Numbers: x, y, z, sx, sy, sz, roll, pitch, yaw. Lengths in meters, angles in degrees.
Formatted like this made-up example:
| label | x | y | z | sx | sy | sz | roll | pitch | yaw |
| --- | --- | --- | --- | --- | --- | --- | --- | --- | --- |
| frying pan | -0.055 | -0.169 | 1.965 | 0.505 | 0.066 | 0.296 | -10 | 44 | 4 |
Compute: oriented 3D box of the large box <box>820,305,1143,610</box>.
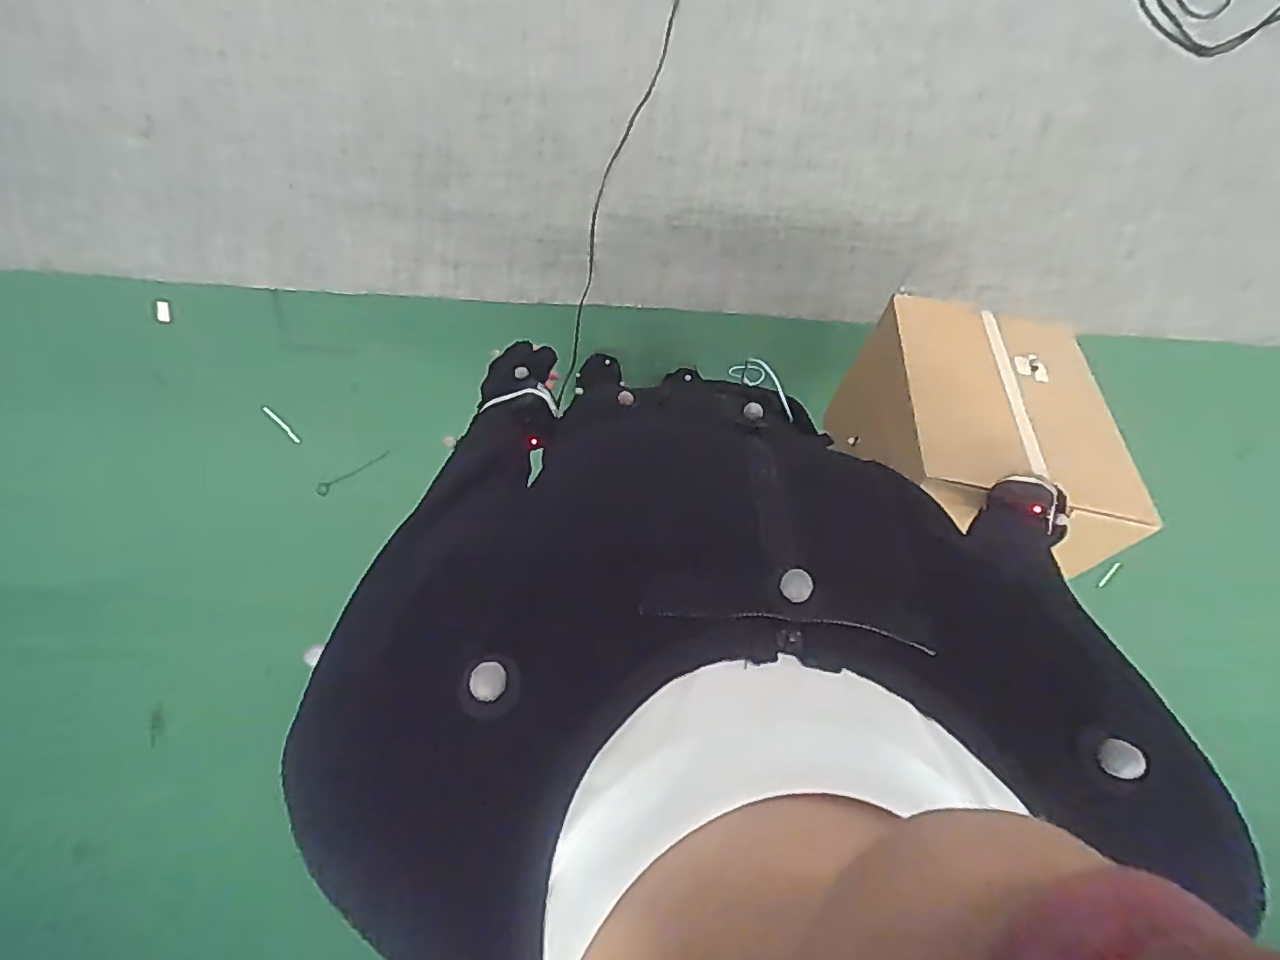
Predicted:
| label | x | y | z | sx | sy | sz | roll | pitch | yaw |
| --- | --- | --- | --- | --- | --- | --- | --- | --- | --- |
| large box | 0.527 | -0.036 | 0.947 | 0.320 | 0.408 | 0.320 | 12 | 143 | 0 |
